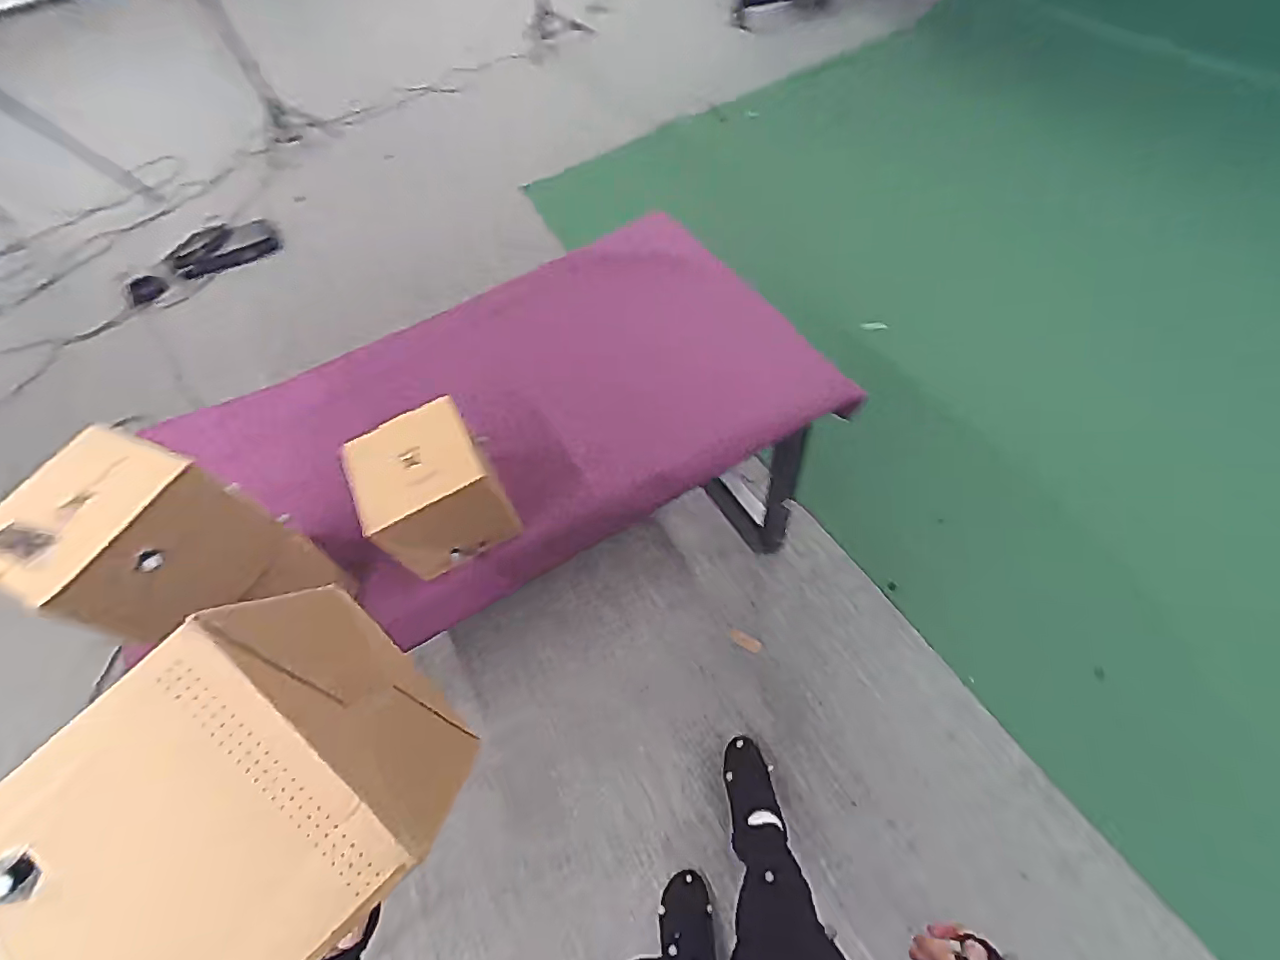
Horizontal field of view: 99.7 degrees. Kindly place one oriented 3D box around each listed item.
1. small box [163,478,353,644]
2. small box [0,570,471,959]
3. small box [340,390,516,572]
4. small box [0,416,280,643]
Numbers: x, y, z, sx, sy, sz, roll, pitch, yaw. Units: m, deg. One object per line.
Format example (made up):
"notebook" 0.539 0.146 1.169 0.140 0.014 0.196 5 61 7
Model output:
"small box" -0.553 0.136 0.757 0.168 0.176 0.179 29 66 23
"small box" -0.229 0.183 0.345 0.176 0.168 0.179 -42 90 -8
"small box" -0.309 0.006 0.808 0.168 0.176 0.179 -28 58 -9
"small box" -0.565 0.061 0.610 0.168 0.176 0.179 17 61 17
